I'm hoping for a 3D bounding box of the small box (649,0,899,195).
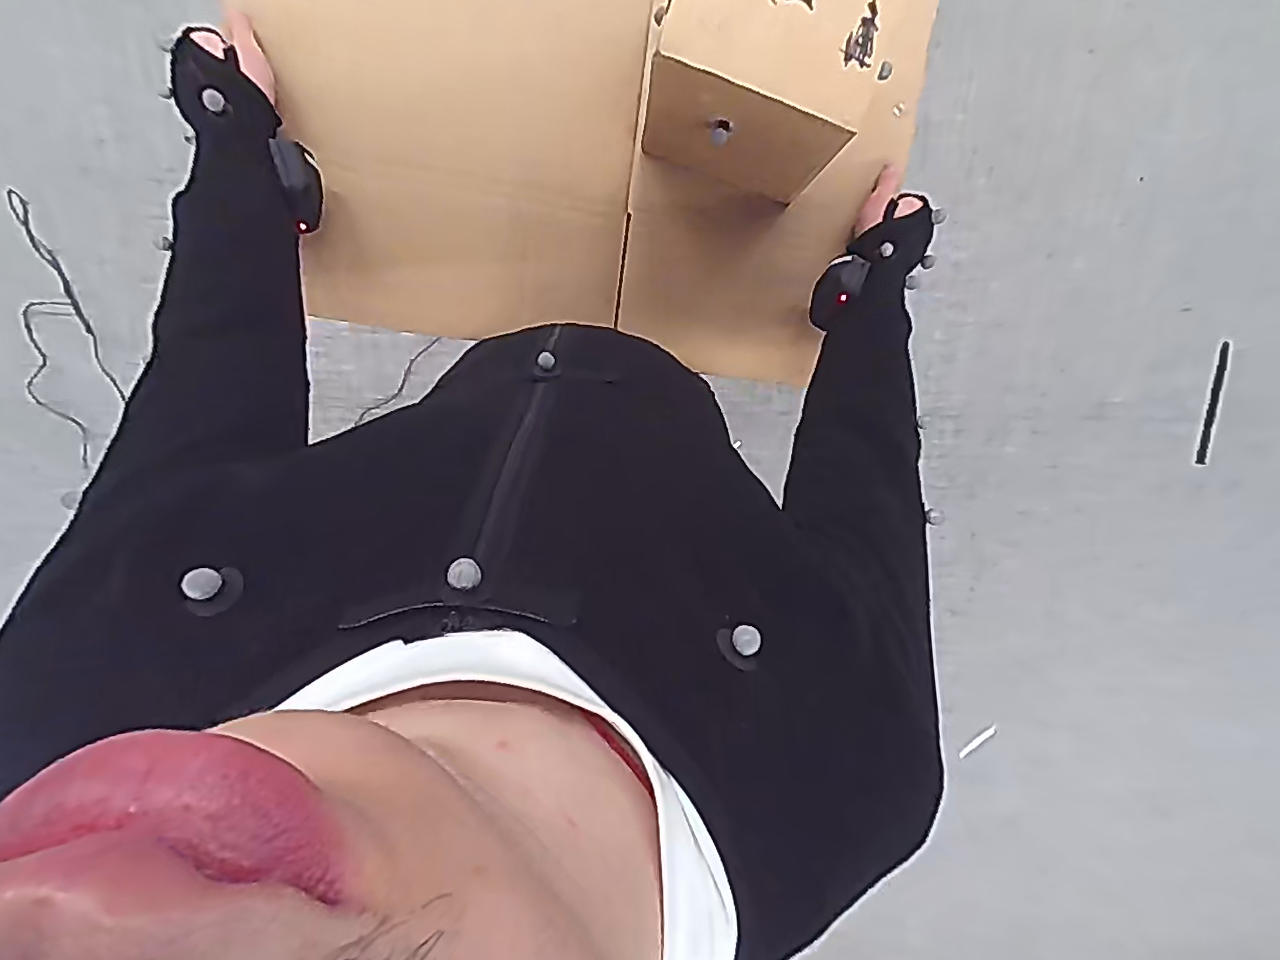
[{"bbox_3d":[0.114,-0.397,0.504,0.179,0.176,0.168,17,98,-5],"label":"small box"}]
